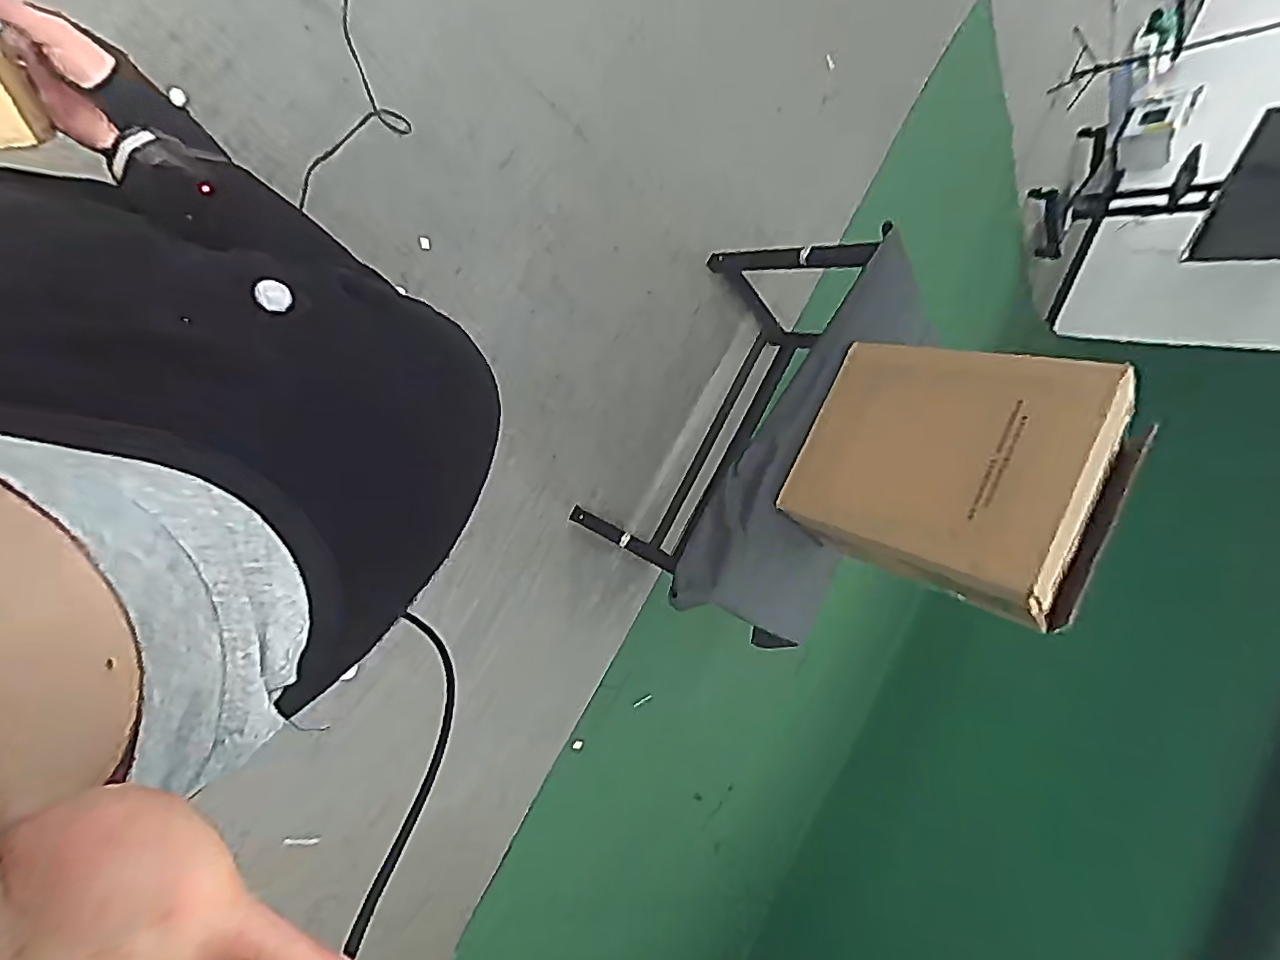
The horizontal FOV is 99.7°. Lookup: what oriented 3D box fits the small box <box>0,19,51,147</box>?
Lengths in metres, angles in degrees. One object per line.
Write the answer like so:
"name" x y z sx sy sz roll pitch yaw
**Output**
"small box" -0.514 -0.291 0.318 0.179 0.176 0.168 -26 134 -28
